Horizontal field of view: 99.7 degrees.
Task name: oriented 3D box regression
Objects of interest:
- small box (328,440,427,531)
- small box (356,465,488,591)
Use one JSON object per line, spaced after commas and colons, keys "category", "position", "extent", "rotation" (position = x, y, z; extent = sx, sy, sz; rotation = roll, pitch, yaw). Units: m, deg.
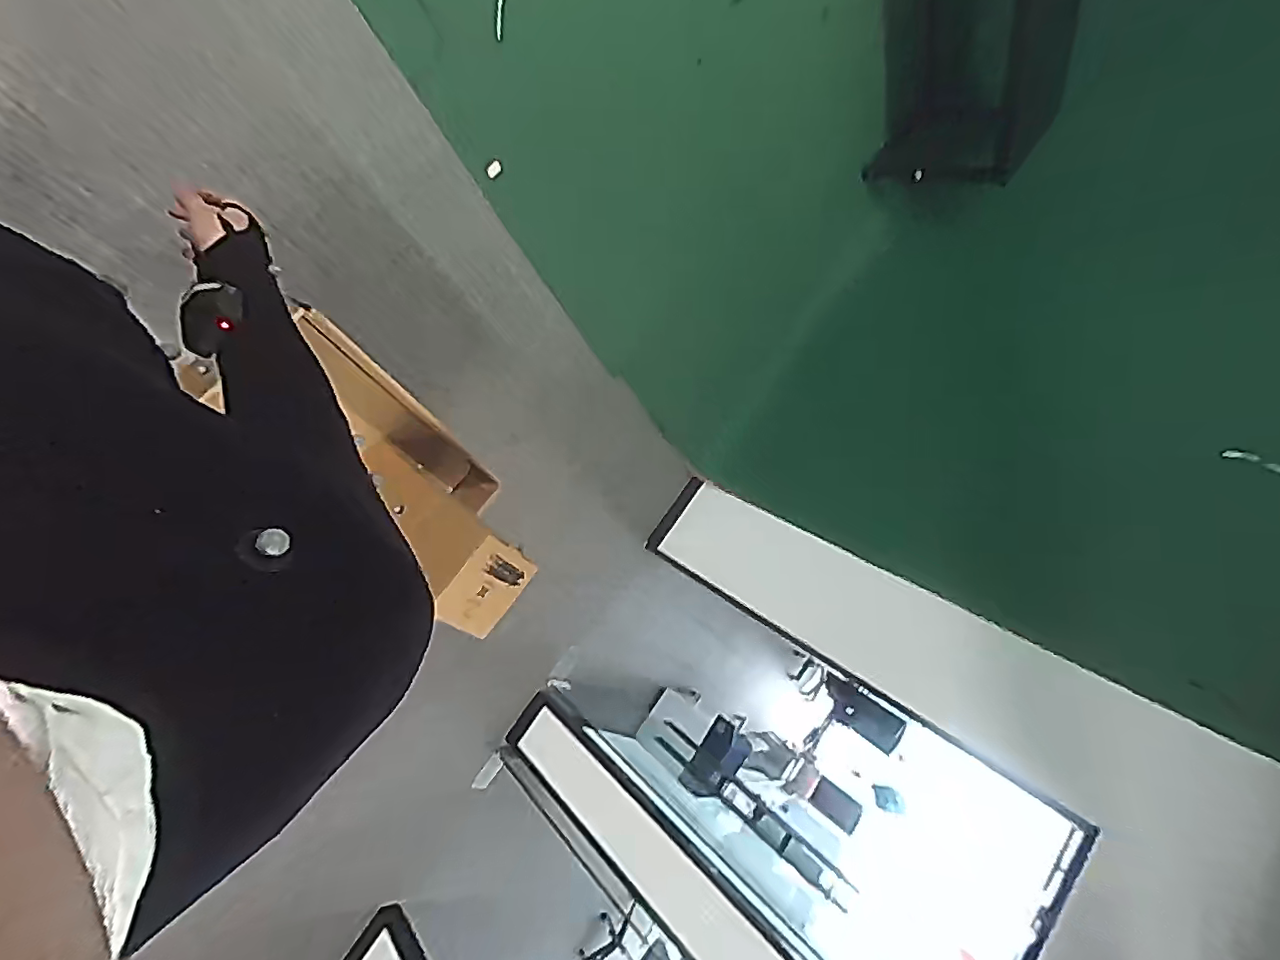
{"category": "small box", "position": [-0.585, 0.039, 1.251], "extent": [0.179, 0.176, 0.168], "rotation": [-51, 143, -13]}
{"category": "small box", "position": [-0.470, 0.100, 1.151], "extent": [0.179, 0.176, 0.168], "rotation": [-53, 143, -13]}
